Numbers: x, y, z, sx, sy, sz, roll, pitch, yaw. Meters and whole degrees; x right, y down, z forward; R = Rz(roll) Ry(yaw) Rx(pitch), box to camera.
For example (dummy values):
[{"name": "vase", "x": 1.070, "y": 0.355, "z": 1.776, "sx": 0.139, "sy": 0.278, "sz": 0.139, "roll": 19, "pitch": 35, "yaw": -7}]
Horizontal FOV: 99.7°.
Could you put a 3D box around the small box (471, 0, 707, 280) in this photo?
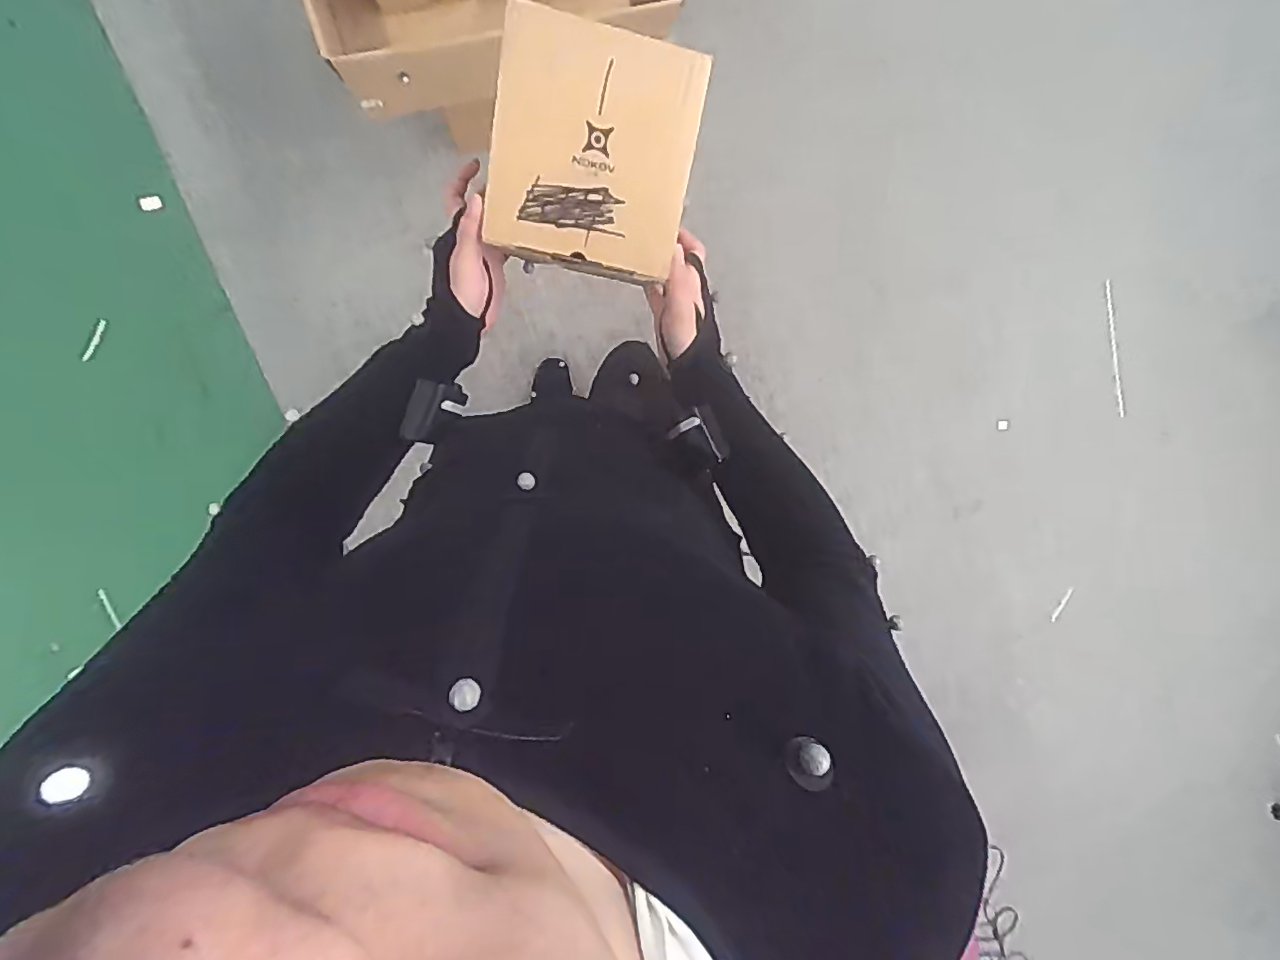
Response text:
[{"name": "small box", "x": -0.051, "y": -0.295, "z": 0.508, "sx": 0.168, "sy": 0.176, "sz": 0.179, "roll": 9, "pitch": 106, "yaw": -10}]
